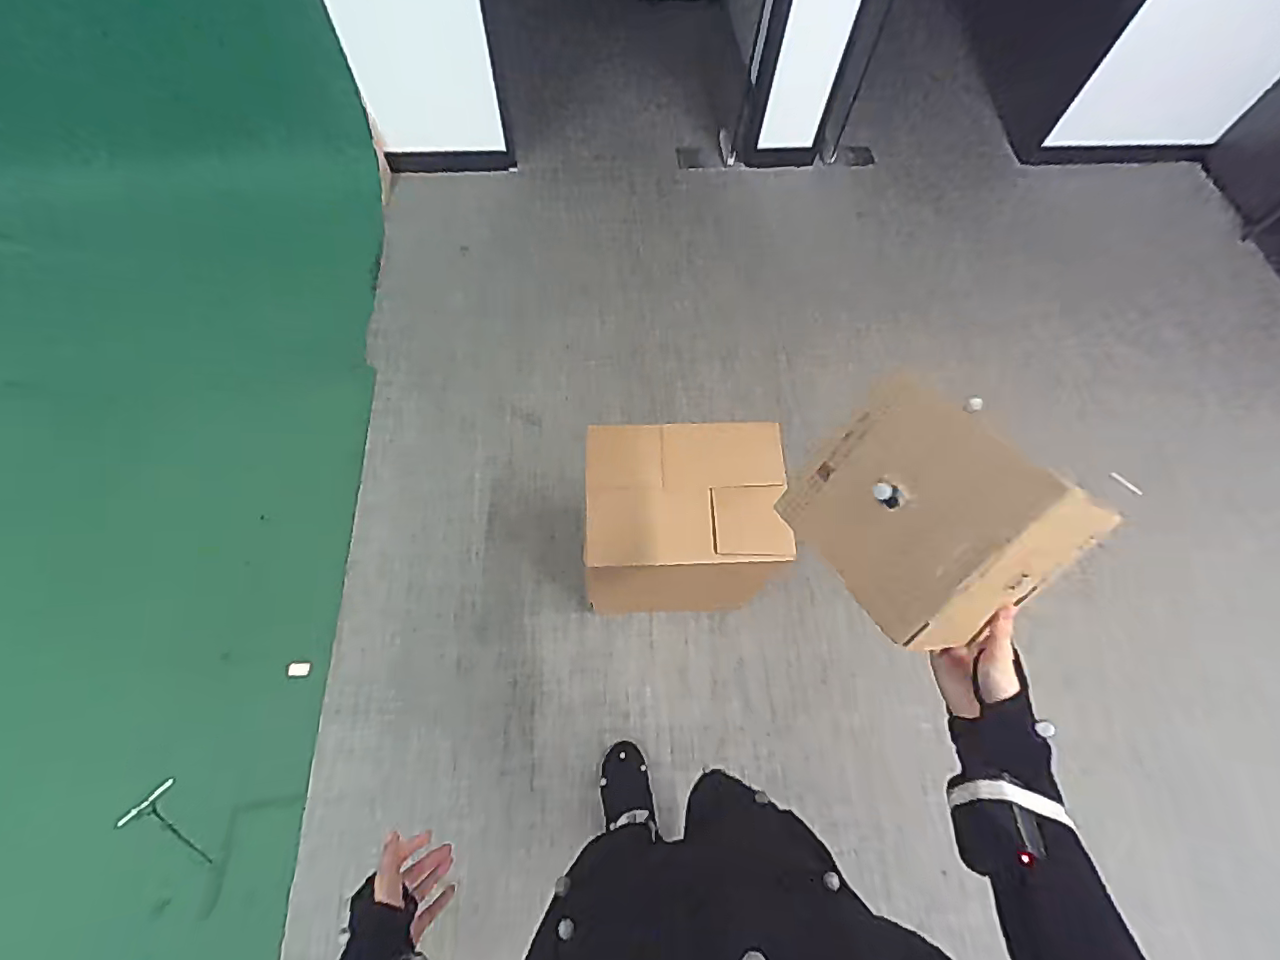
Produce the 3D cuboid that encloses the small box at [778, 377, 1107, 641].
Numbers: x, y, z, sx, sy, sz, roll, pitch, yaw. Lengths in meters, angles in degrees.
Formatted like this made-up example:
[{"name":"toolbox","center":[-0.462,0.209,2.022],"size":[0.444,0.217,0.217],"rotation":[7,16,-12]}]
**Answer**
[{"name":"small box","center":[0.264,0.026,0.500],"size":[0.179,0.168,0.176],"rotation":[14,29,-38]}]
